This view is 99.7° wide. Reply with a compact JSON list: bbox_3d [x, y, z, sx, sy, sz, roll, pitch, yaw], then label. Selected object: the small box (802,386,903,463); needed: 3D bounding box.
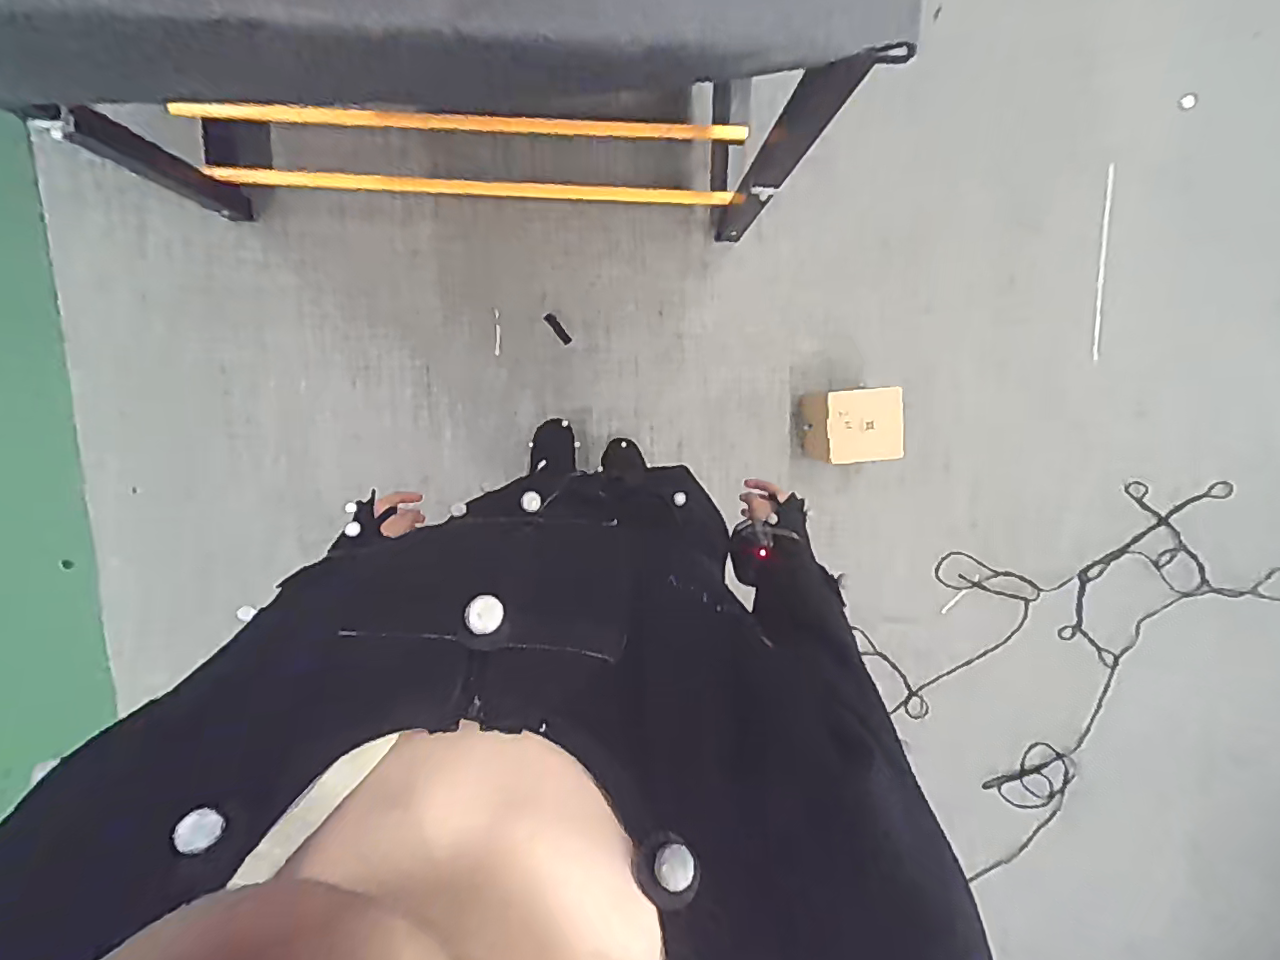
[{"bbox_3d":[0.504,-0.136,1.298,0.179,0.176,0.168,-5,98,-2],"label":"small box"}]
